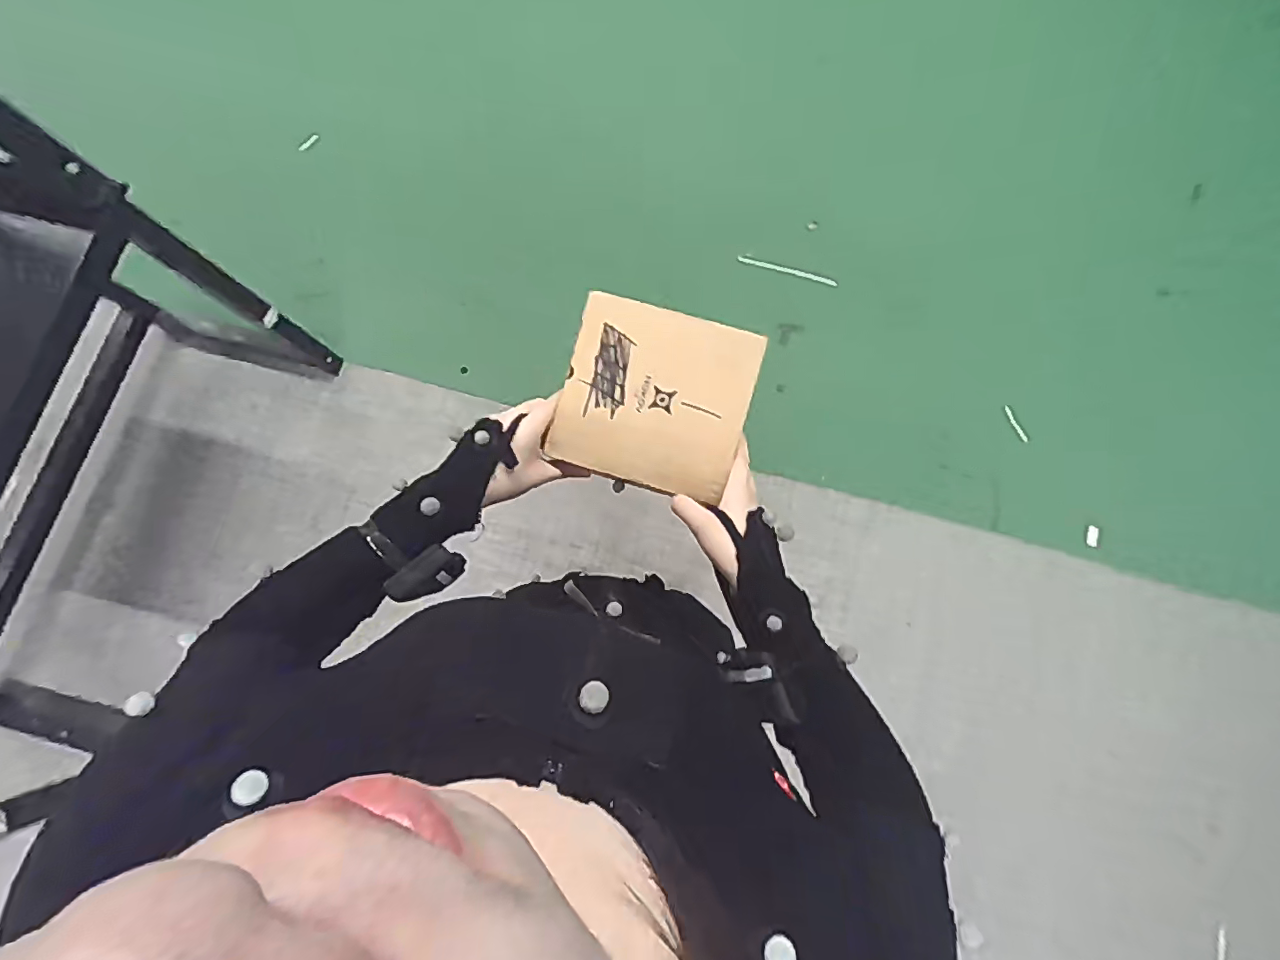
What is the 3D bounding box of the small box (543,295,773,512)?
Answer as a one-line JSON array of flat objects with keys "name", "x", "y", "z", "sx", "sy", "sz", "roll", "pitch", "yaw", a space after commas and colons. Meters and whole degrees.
[{"name": "small box", "x": 0.019, "y": -0.067, "z": 0.573, "sx": 0.179, "sy": 0.176, "sz": 0.168, "roll": 17, "pitch": 89, "yaw": 3}]
